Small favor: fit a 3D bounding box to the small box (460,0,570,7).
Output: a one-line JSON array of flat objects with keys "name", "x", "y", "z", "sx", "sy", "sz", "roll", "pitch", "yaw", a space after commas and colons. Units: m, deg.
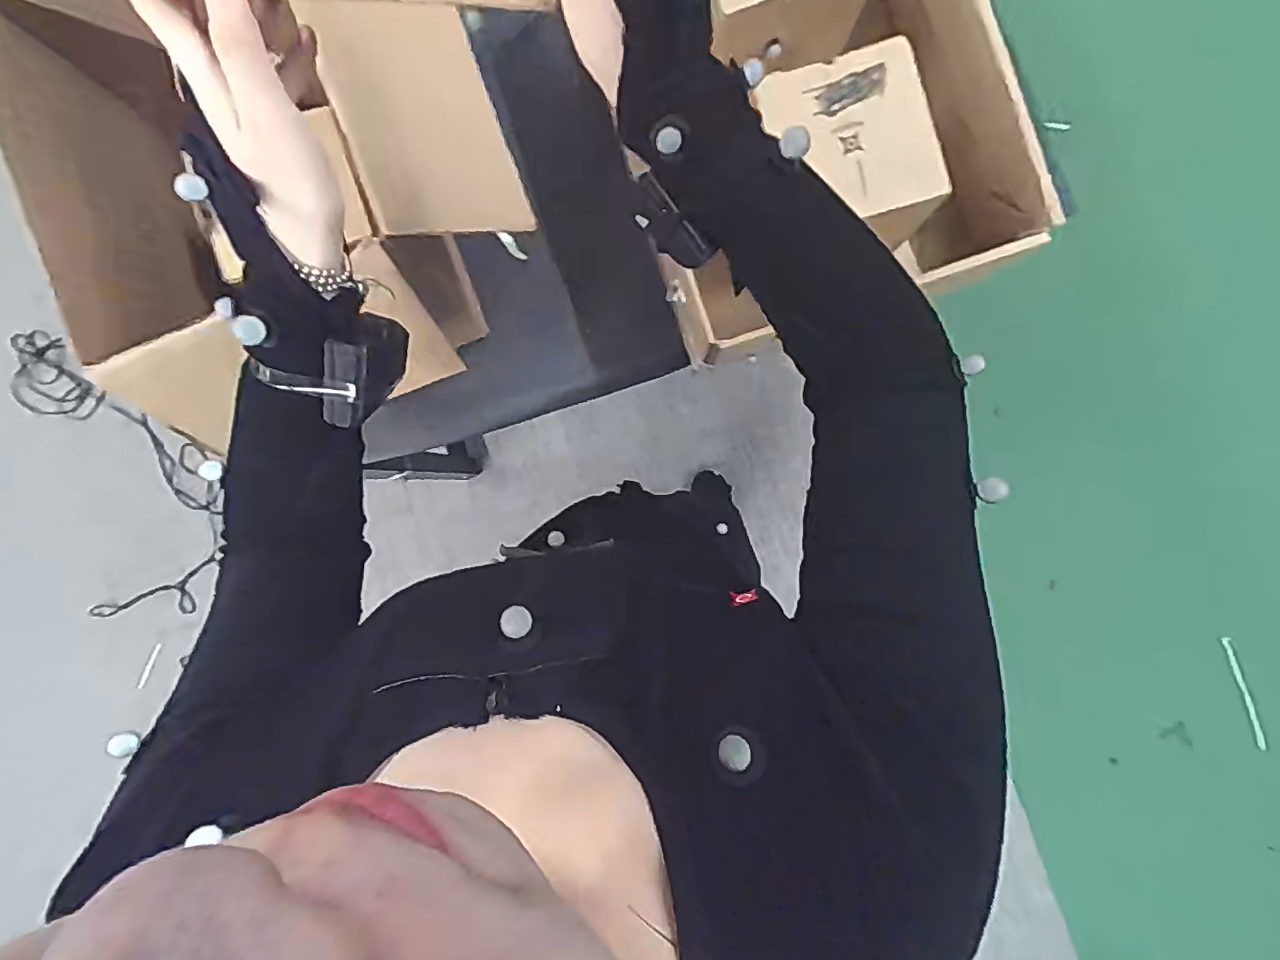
[{"name": "small box", "x": -0.127, "y": -0.328, "z": 0.227, "sx": 0.179, "sy": 0.168, "sz": 0.176, "roll": -10, "pitch": 53, "yaw": -13}]
